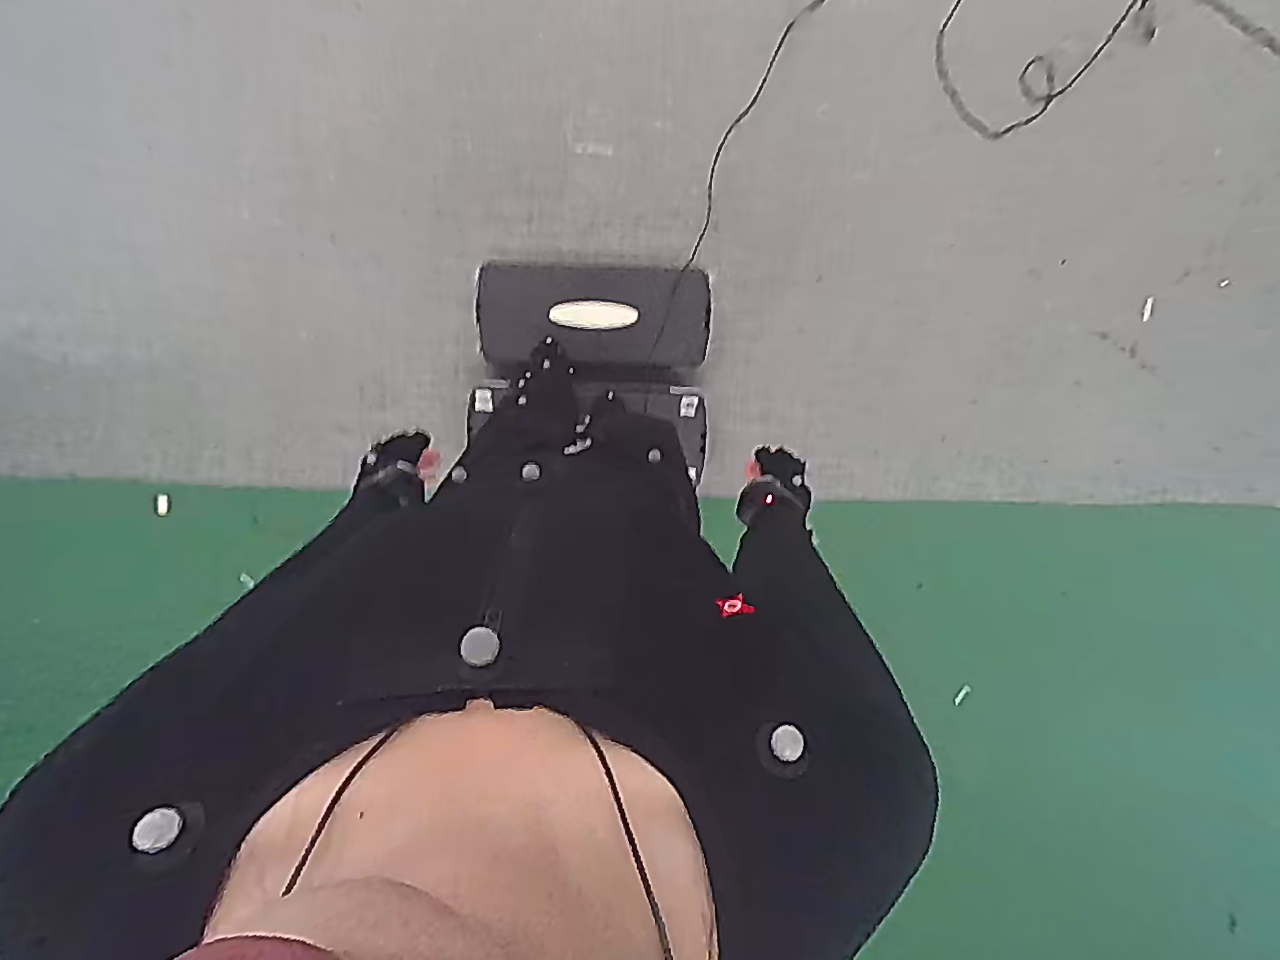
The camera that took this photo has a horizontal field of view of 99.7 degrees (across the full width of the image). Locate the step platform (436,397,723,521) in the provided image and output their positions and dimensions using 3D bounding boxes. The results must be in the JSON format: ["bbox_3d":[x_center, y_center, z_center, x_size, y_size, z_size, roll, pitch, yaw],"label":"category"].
[{"bbox_3d":[-0.145,-0.060,1.374,0.684,0.204,0.286,1,100,-3],"label":"step platform"}]
